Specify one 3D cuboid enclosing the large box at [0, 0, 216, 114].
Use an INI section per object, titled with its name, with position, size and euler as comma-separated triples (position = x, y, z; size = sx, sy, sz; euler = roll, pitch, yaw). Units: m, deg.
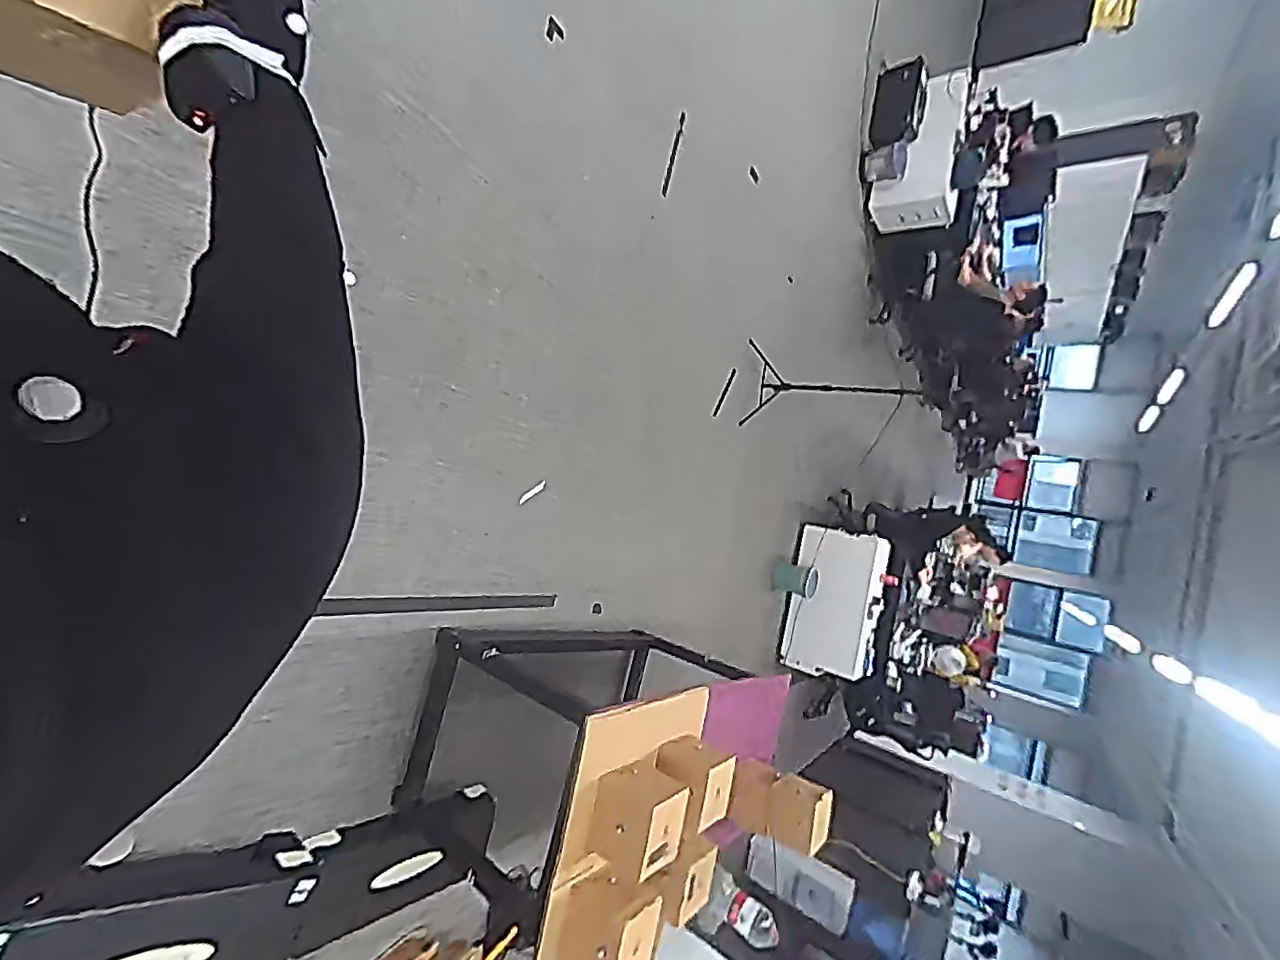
[large box]
position = -0.554, -0.498, 0.332
size = 0.408, 0.320, 0.320
euler = -5, 111, -53
